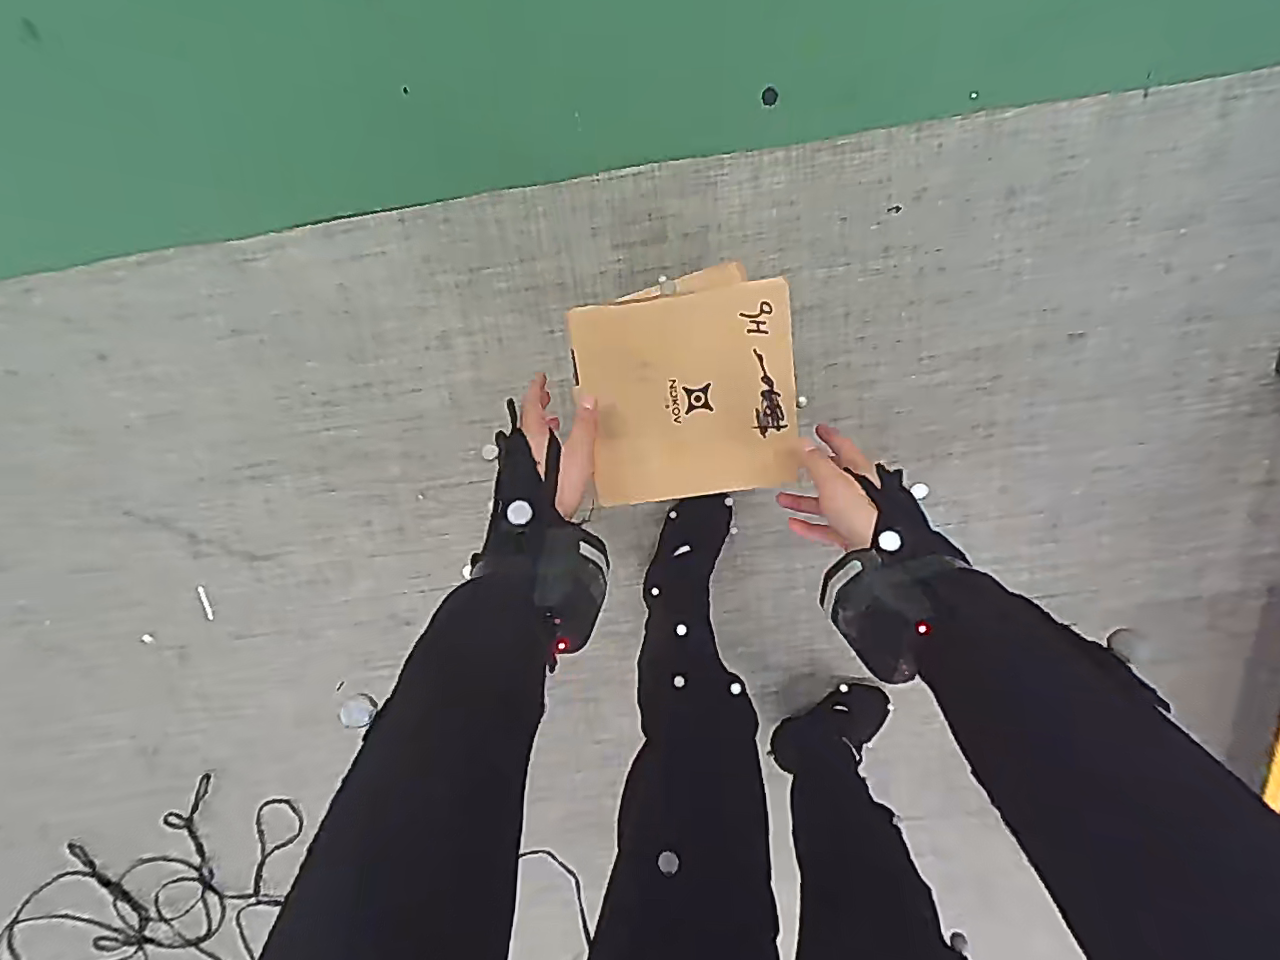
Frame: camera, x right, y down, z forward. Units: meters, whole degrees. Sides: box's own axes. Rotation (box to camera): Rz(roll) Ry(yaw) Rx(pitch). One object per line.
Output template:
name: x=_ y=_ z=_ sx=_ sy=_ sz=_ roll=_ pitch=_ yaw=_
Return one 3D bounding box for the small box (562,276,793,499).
small box: x=0.037 y=-0.092 z=0.516 sx=0.179 sy=0.176 sz=0.168 roll=-7 pitch=107 yaw=4
